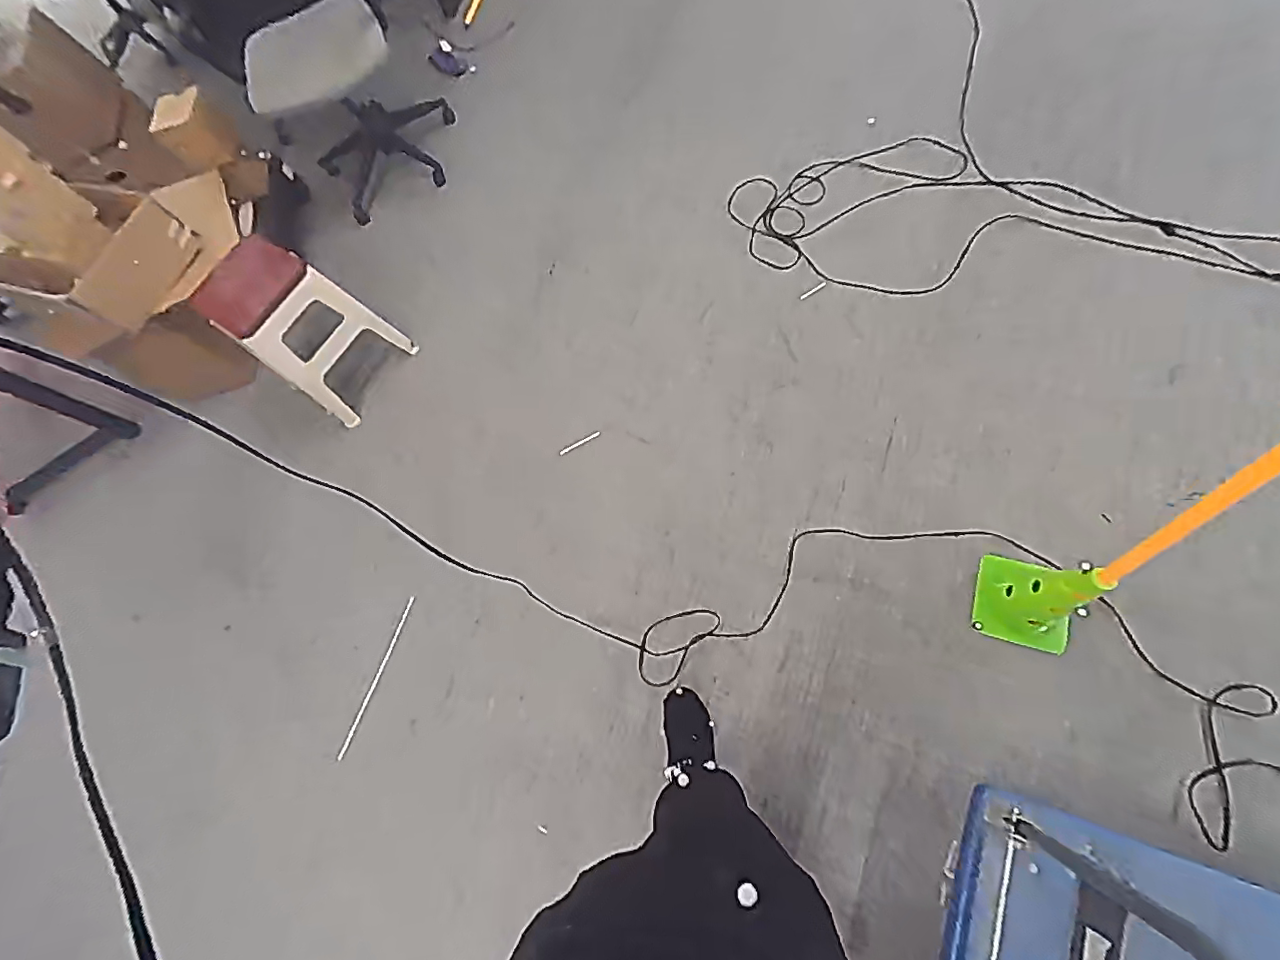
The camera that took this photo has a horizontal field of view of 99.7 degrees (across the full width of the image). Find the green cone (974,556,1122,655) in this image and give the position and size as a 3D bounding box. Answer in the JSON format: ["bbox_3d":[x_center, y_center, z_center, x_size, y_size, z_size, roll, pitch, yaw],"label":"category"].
[{"bbox_3d":[0.885,0.235,1.136,0.200,0.368,0.202,13,73,16],"label":"green cone"}]
